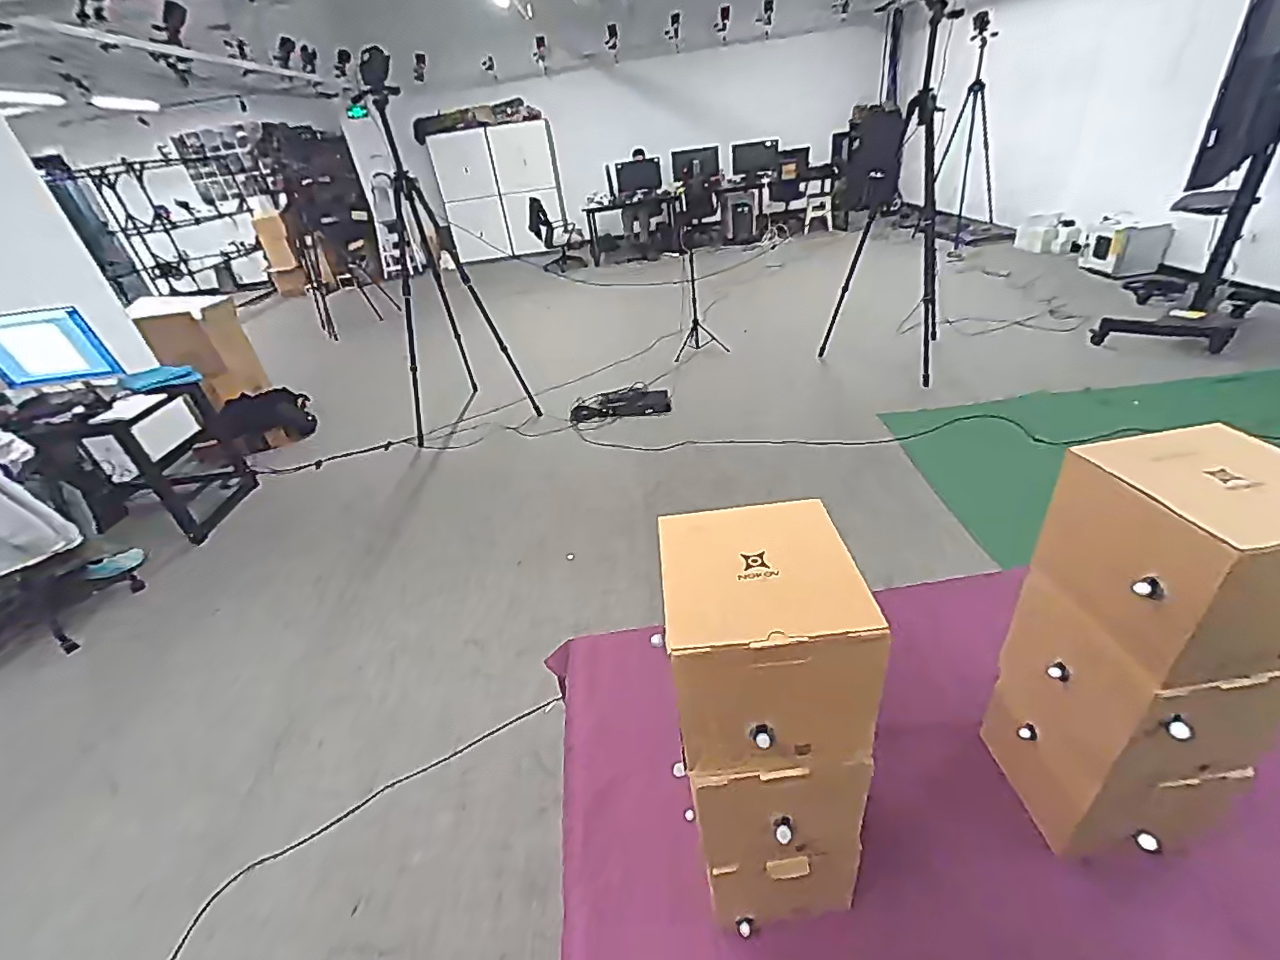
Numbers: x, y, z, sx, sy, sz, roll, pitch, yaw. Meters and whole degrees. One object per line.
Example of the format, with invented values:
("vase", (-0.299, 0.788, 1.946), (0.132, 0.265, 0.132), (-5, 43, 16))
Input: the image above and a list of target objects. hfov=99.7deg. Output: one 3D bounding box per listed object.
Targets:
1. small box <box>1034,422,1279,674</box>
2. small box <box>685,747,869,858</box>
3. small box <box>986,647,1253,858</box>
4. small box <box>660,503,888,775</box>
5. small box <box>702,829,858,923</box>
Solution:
("small box", (0.536, 0.067, 0.525), (0.168, 0.176, 0.179), (-9, 32, -1))
("small box", (0.131, 0.285, 0.595), (0.168, 0.176, 0.179), (-8, 33, 0))
("small box", (0.583, 0.344, 0.693), (0.168, 0.176, 0.179), (-9, 33, 2))
("small box", (0.110, 0.145, 0.513), (0.168, 0.176, 0.179), (-7, 33, 3))
("small box", (0.157, 0.422, 0.682), (0.168, 0.176, 0.179), (-9, 32, -1))
